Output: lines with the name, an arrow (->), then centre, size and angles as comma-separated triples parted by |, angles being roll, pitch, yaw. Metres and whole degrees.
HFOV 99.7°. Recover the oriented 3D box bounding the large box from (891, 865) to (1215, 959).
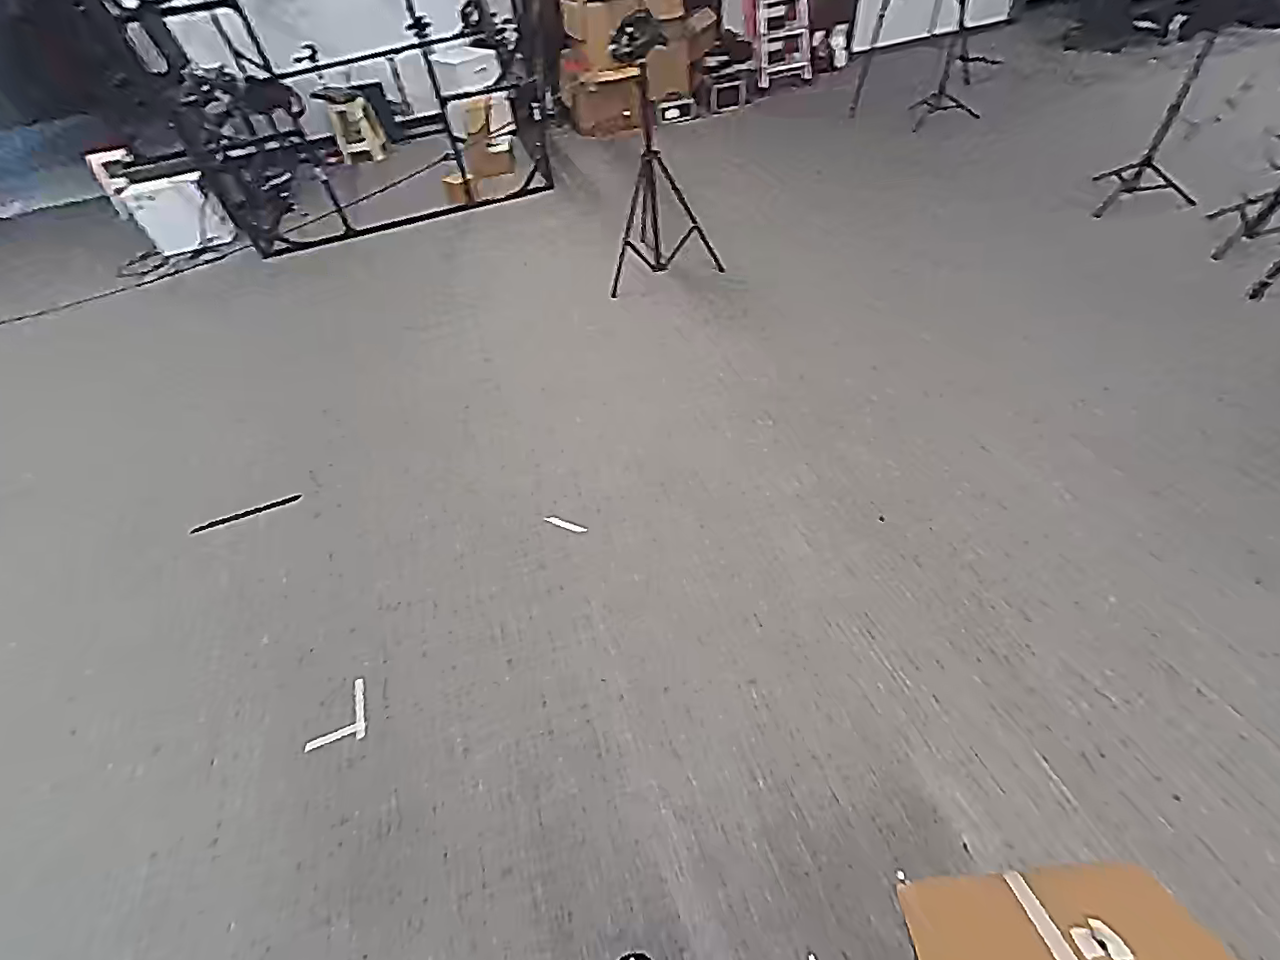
large box -> 0.511, 0.703, 0.565 | 0.320, 0.408, 0.320 | -14, 84, 11
